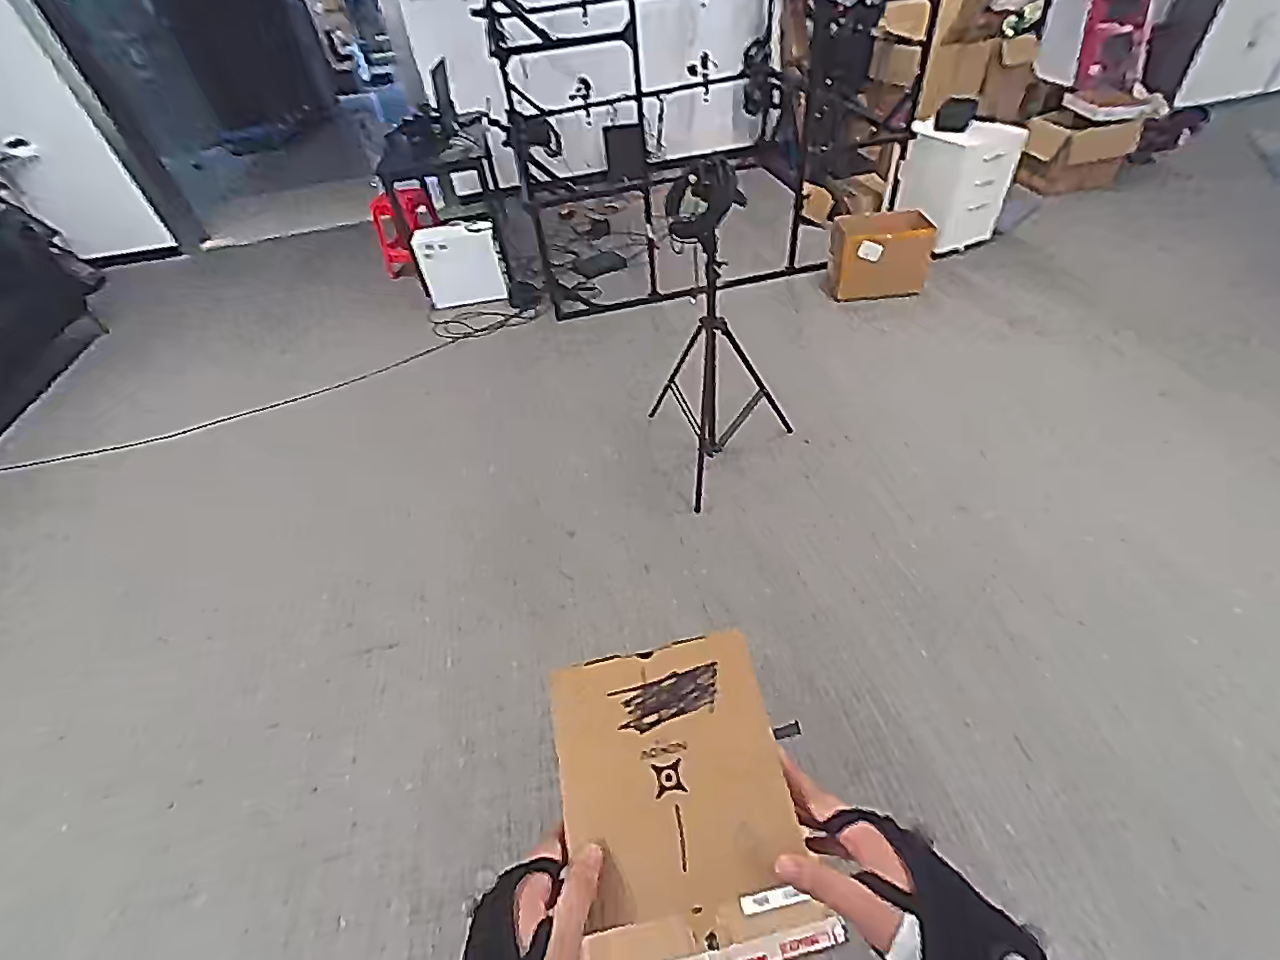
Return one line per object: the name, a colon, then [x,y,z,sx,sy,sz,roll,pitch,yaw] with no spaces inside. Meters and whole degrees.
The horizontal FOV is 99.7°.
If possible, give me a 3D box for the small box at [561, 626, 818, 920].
small box: [0.034,0.250,0.476,0.168,0.176,0.179,-12,60,0]
